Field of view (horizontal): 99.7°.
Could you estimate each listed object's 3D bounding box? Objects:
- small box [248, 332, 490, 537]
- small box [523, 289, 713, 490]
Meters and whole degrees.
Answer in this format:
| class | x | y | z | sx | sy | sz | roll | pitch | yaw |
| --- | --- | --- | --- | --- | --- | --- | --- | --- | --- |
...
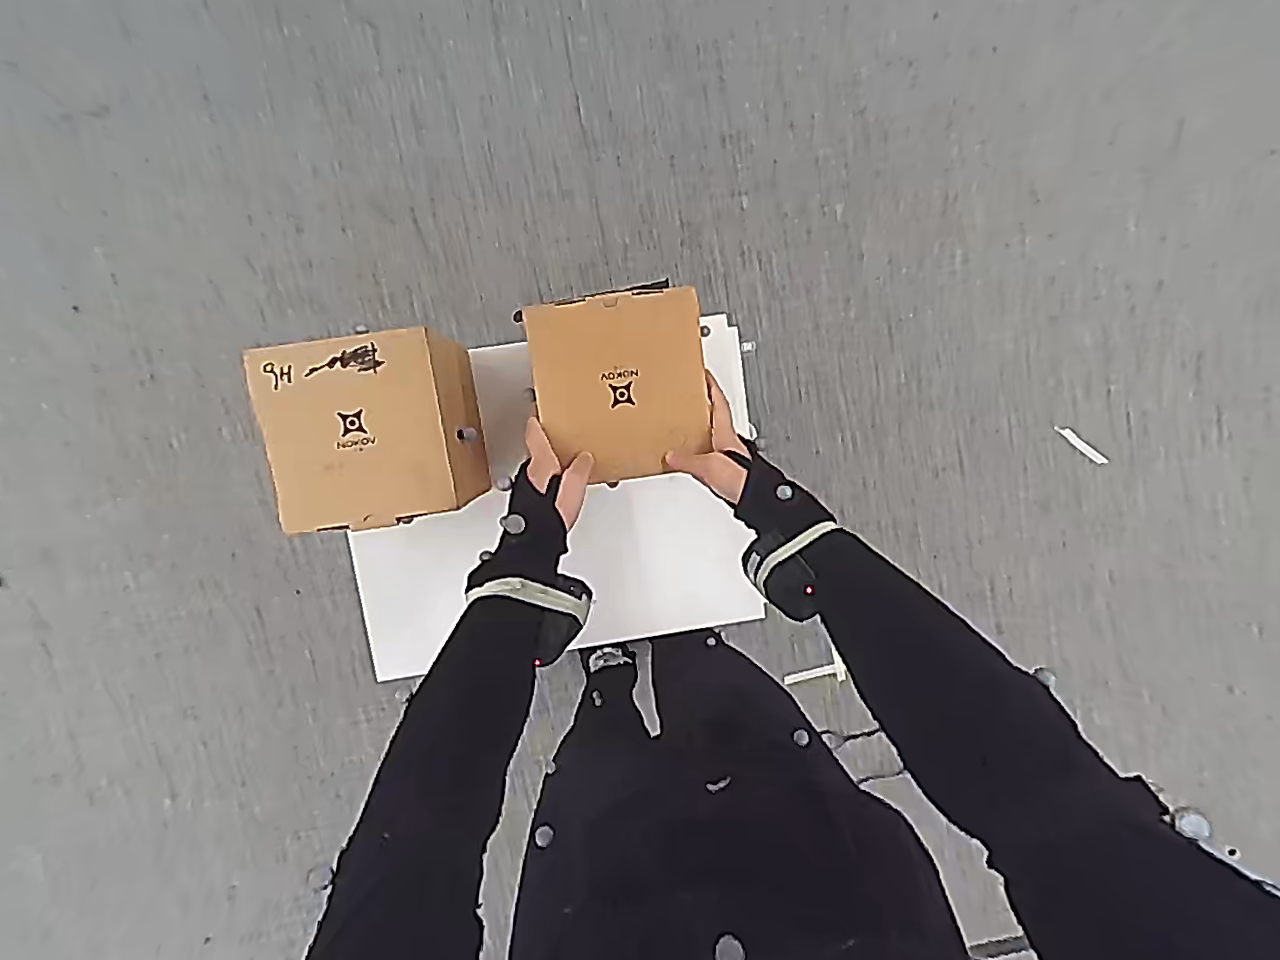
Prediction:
| class | x | y | z | sx | sy | sz | roll | pitch | yaw |
| --- | --- | --- | --- | --- | --- | --- | --- | --- | --- |
| small box | -0.269 | -0.052 | 0.584 | 0.168 | 0.176 | 0.179 | -9 | 98 | -4 |
| small box | -0.022 | -0.095 | 0.597 | 0.168 | 0.176 | 0.179 | -8 | 97 | -2 |
